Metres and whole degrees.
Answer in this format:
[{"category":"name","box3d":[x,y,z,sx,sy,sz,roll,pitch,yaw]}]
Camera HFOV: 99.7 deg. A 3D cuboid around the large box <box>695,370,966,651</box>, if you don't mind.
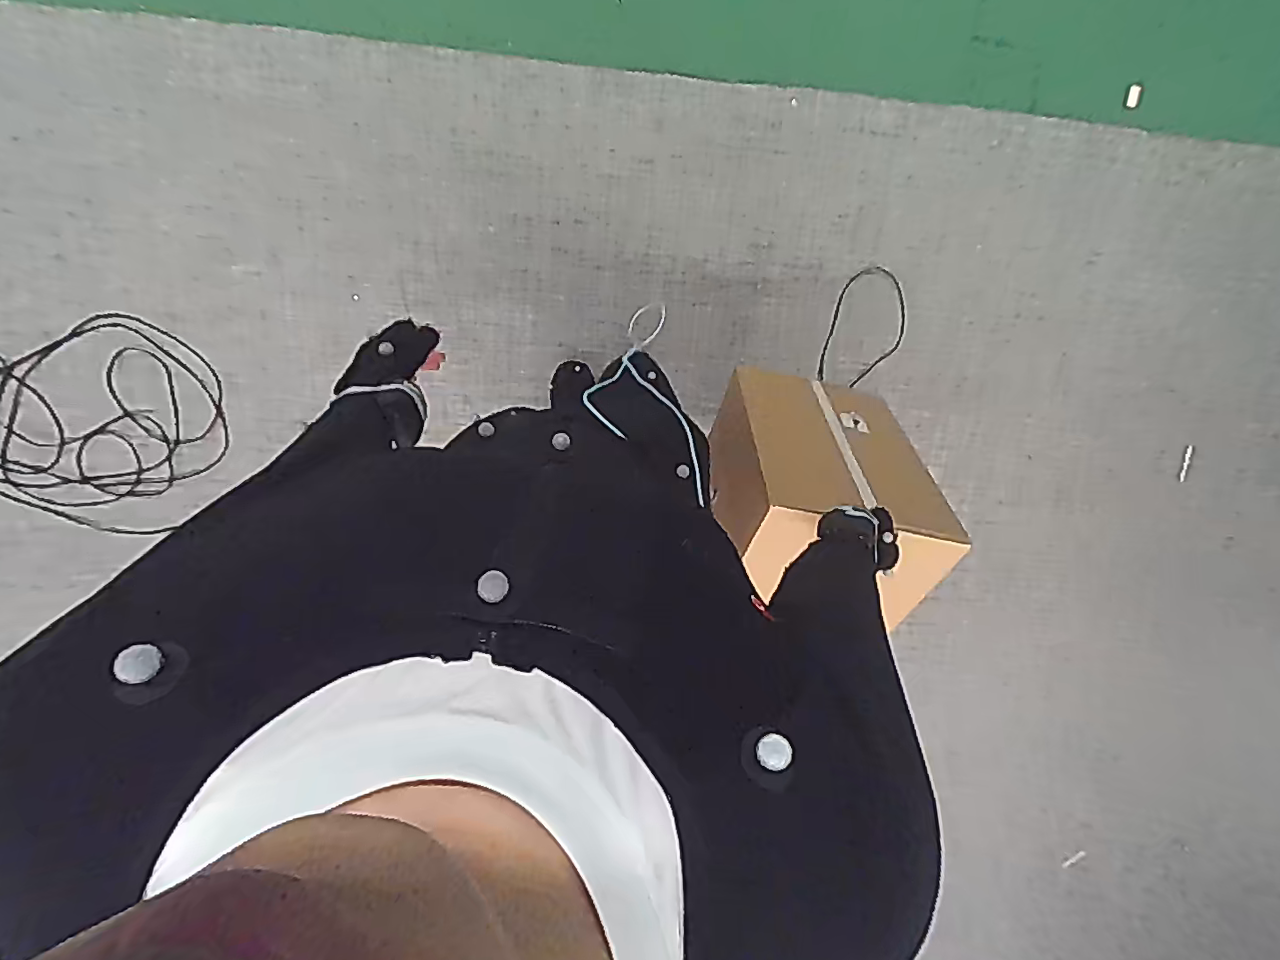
[{"category":"large box","box3d":[0.300,0.051,1.010,0.320,0.408,0.320,12,129,-8]}]
